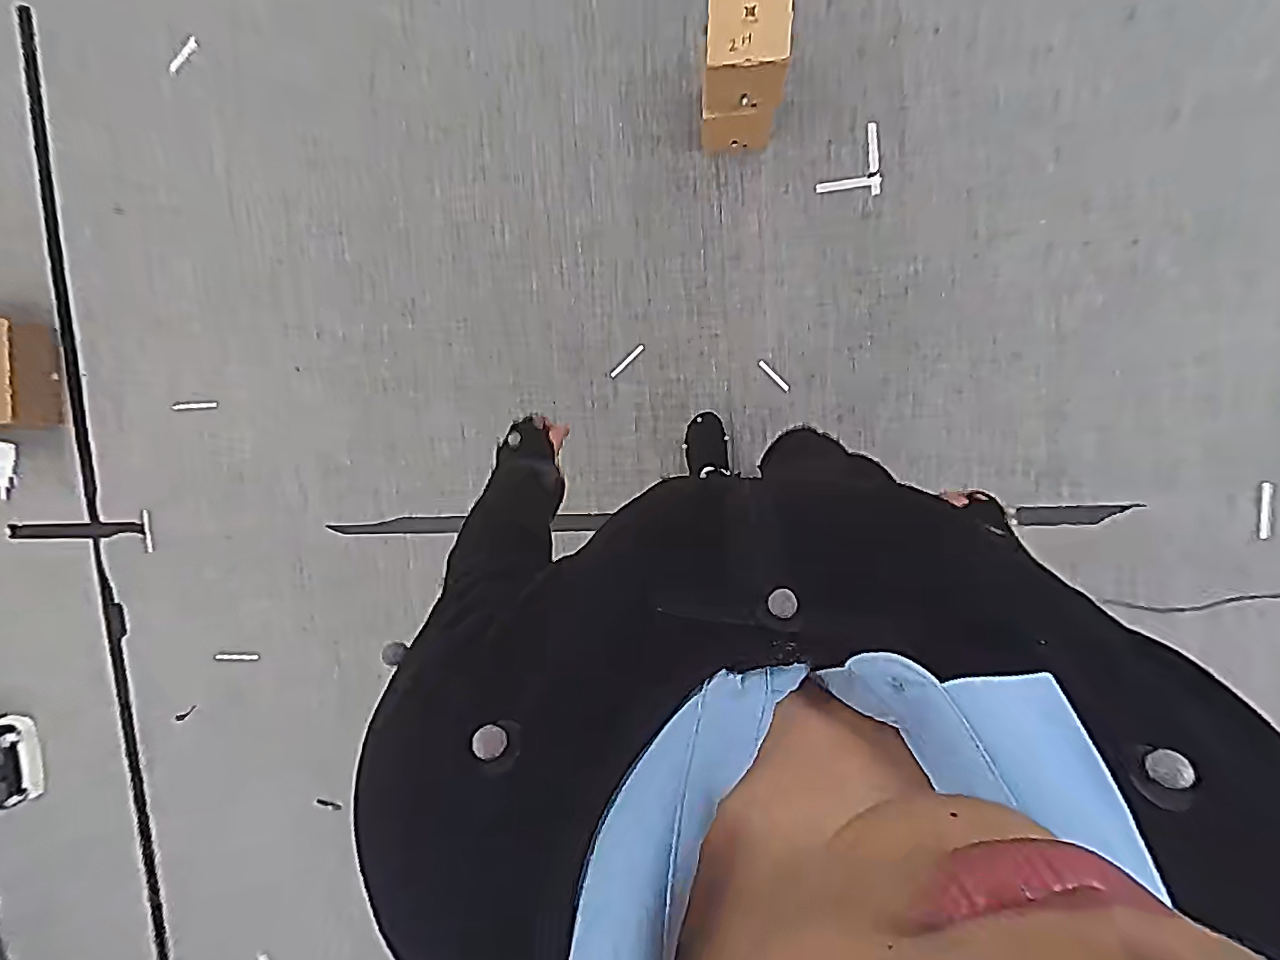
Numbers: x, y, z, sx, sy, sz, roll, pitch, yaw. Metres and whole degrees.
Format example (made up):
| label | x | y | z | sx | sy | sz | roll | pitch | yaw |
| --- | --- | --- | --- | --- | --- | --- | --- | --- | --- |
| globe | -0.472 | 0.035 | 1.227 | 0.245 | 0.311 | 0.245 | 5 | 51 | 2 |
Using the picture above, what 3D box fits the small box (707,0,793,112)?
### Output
| label | x | y | z | sx | sy | sz | roll | pitch | yaw |
| --- | --- | --- | --- | --- | --- | --- | --- | --- | --- |
| small box | 0.229 | -0.923 | 1.145 | 0.168 | 0.176 | 0.179 | 2 | 96 | 9 |
